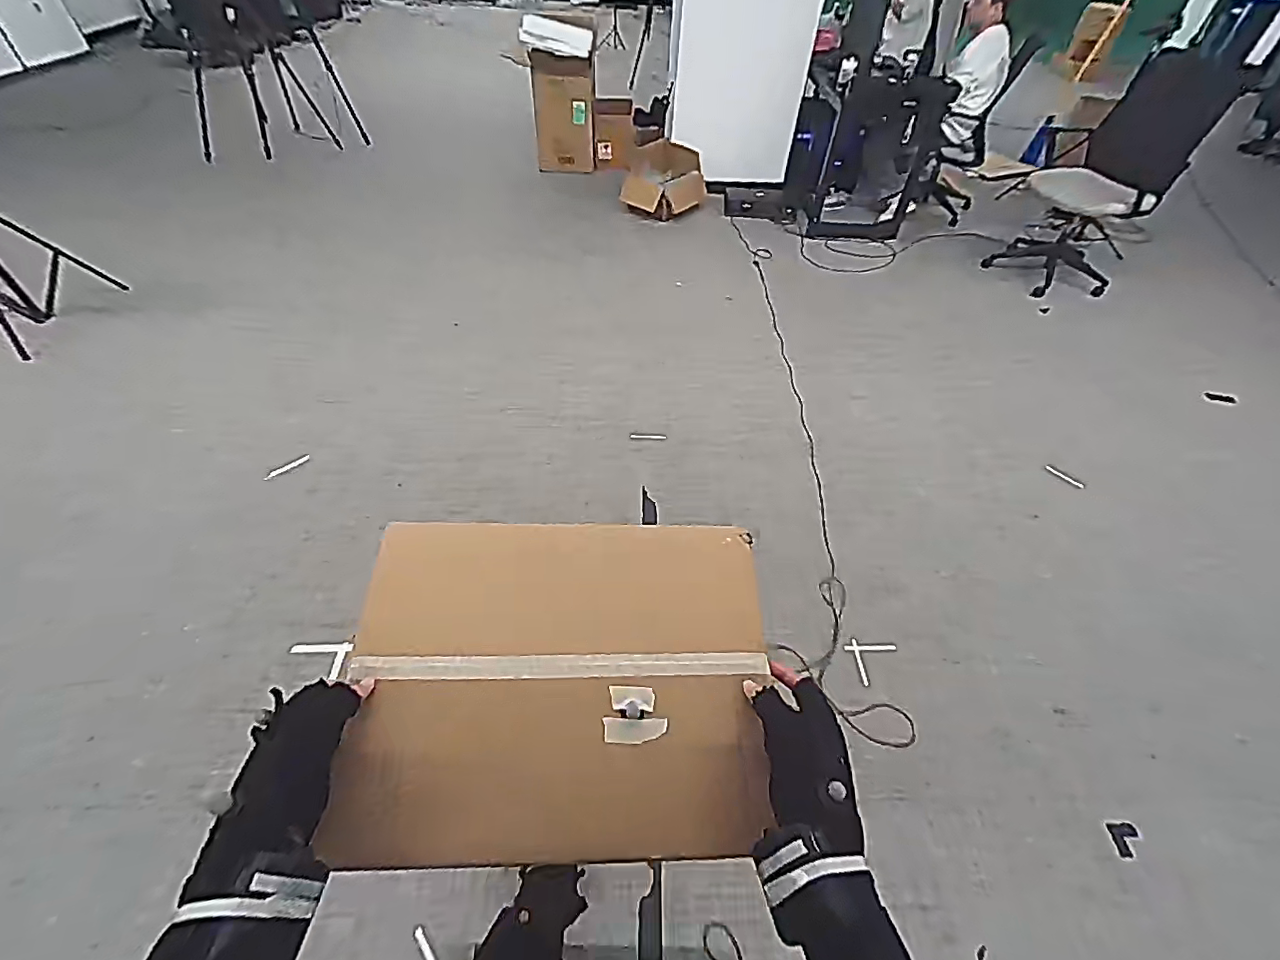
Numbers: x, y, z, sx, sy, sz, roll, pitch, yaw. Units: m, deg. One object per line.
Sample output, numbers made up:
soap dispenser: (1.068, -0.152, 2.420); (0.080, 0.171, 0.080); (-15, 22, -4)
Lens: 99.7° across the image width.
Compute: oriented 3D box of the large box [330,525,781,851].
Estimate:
large box: (-0.087, 0.264, 0.677); (0.408, 0.320, 0.320); (1, 57, -5)
